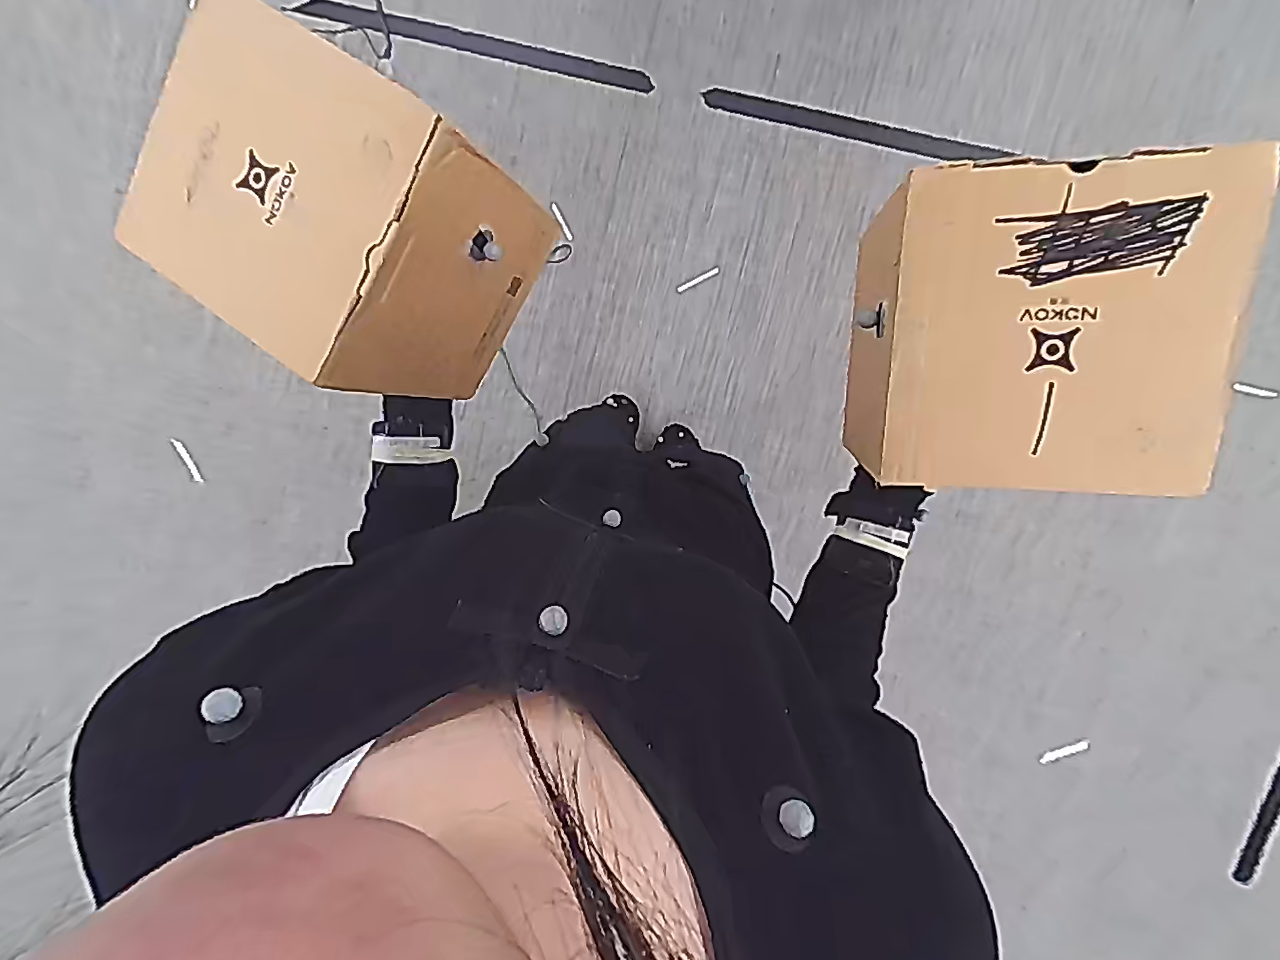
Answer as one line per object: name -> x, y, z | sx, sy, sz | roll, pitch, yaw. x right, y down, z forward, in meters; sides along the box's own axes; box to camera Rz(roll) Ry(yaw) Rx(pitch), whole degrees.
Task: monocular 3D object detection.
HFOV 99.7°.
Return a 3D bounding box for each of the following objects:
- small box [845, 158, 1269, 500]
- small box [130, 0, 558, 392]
small box -> 0.244, -0.094, 0.374 | 0.168, 0.176, 0.179 | 3, 103, 12
small box -> -0.187, -0.176, 0.386 | 0.179, 0.176, 0.168 | 35, 102, 9
